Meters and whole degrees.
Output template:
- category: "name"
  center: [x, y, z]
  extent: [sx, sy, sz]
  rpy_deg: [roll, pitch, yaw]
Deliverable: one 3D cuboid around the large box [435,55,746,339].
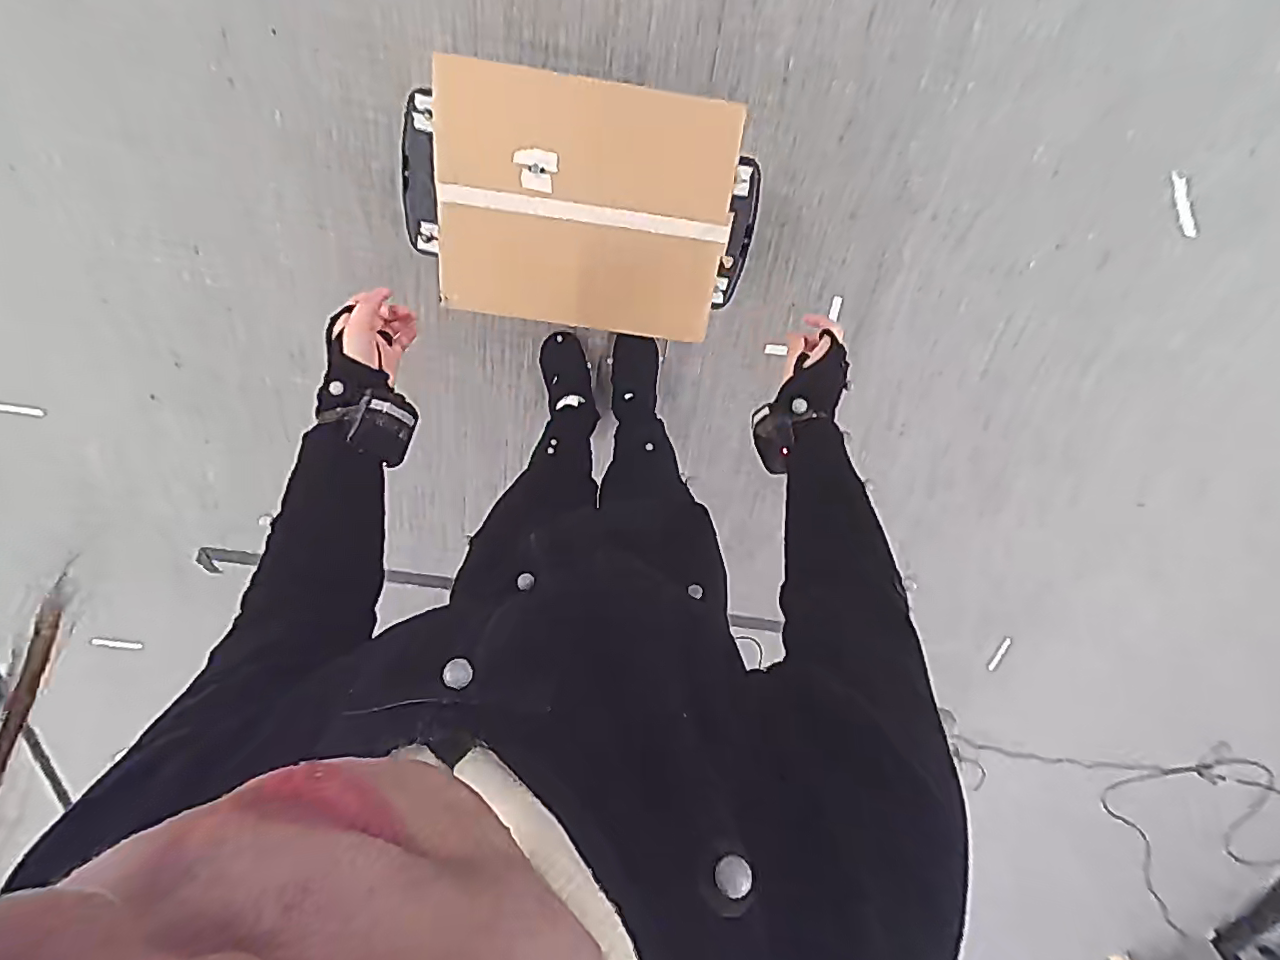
- category: "large box"
  center: [-0.074, -0.441, 0.880]
  extent: [0.408, 0.320, 0.320]
  rpy_deg: [7, 117, -3]
